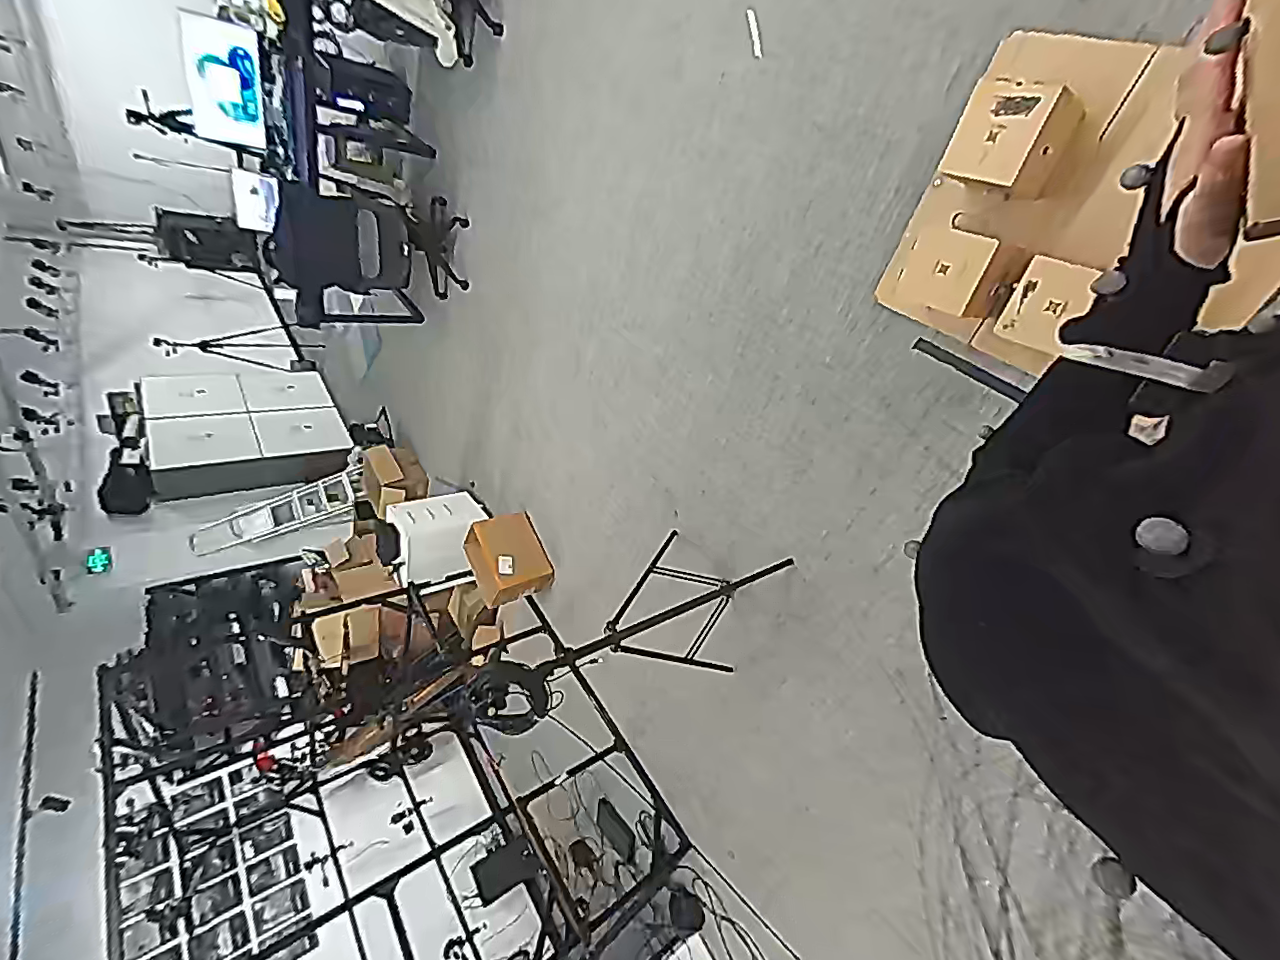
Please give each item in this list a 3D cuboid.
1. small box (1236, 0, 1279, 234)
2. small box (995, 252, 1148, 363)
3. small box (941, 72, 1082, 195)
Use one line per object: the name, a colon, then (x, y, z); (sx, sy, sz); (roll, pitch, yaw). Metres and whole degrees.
small box: (0.381, -0.223, 0.231); (0.168, 0.176, 0.179); (1, 104, 48)
small box: (0.884, -0.353, 1.107); (0.179, 0.176, 0.168); (40, 128, 36)
small box: (0.783, -0.722, 1.136); (0.168, 0.176, 0.179); (42, 129, 37)
